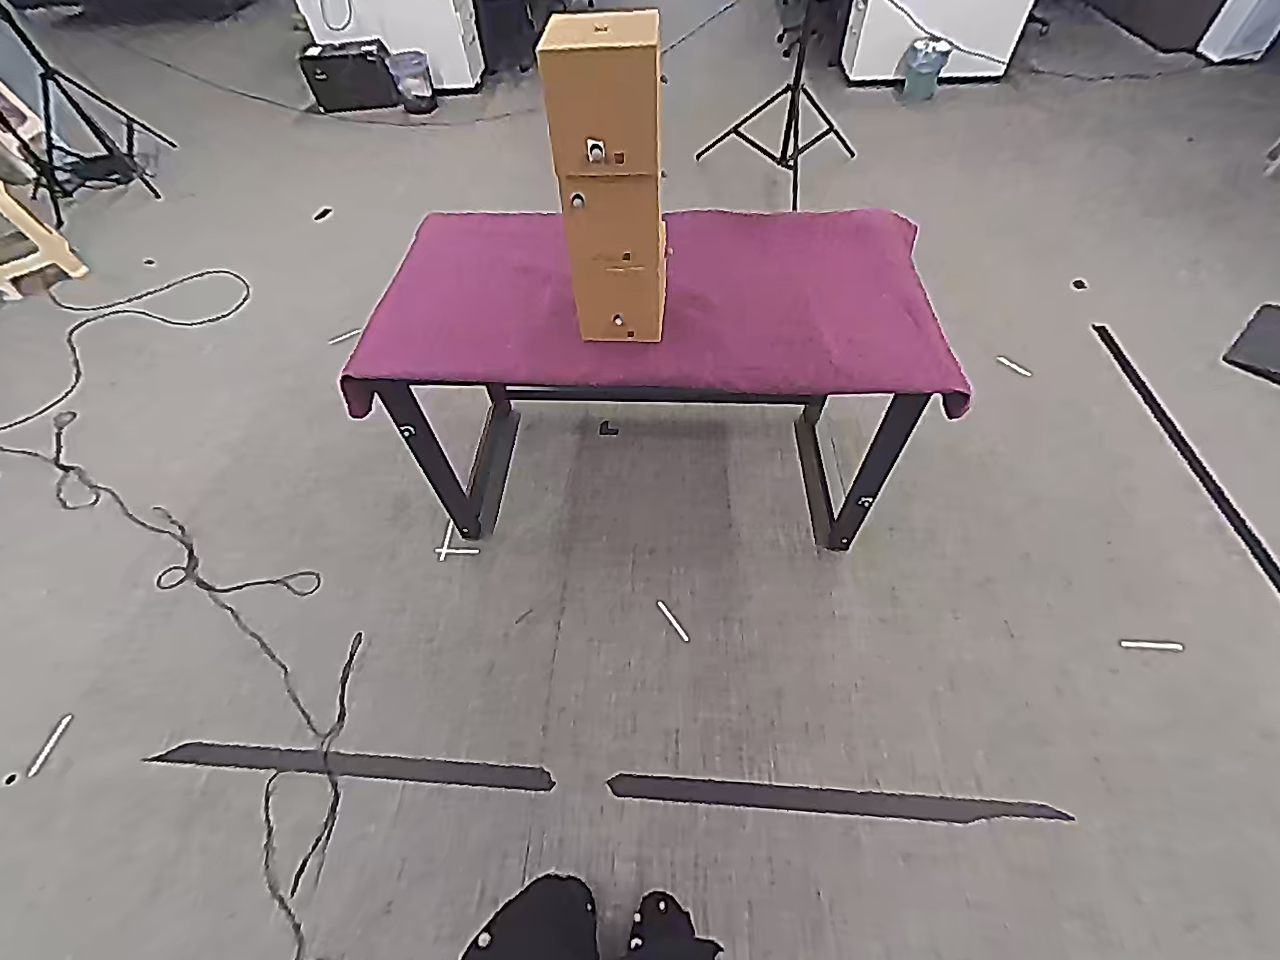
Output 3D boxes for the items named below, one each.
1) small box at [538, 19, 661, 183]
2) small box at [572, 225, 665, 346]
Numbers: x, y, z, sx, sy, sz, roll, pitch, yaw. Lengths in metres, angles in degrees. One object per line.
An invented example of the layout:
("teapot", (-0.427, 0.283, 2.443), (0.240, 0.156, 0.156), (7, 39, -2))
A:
("small box", (-0.053, -0.587, 0.843), (0.168, 0.176, 0.179), (-1, 53, 3))
("small box", (-0.037, -0.399, 1.110), (0.168, 0.176, 0.179), (2, 53, 5))
